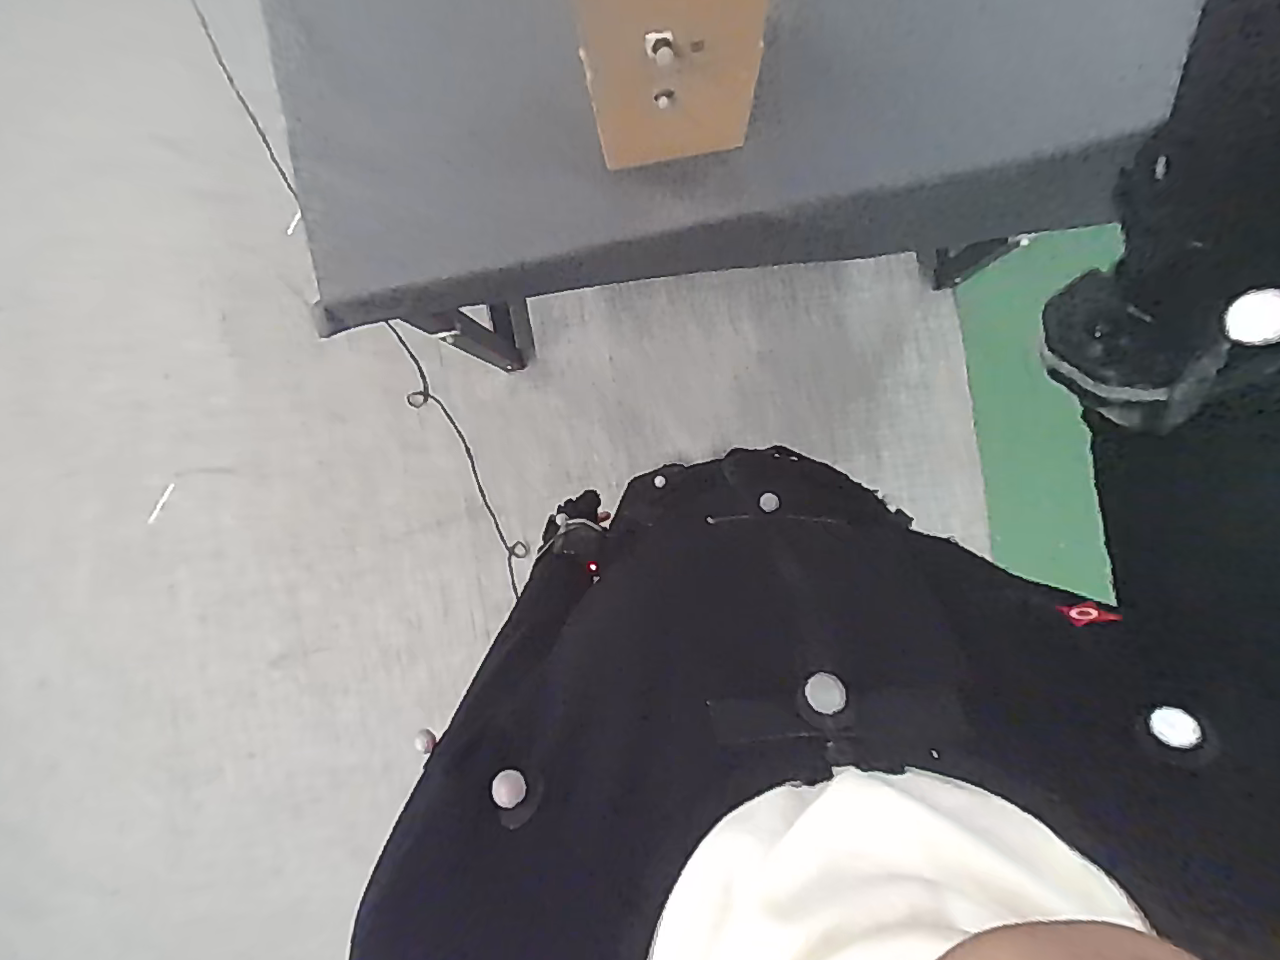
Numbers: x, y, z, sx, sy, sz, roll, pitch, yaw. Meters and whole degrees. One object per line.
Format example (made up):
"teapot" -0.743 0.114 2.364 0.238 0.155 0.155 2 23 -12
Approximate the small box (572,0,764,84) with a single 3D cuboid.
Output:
"small box" 0.014 -0.484 0.447 0.168 0.176 0.179 -9 92 7

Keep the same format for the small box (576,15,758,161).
"small box" 0.027 -0.492 0.607 0.179 0.176 0.168 -7 92 4
